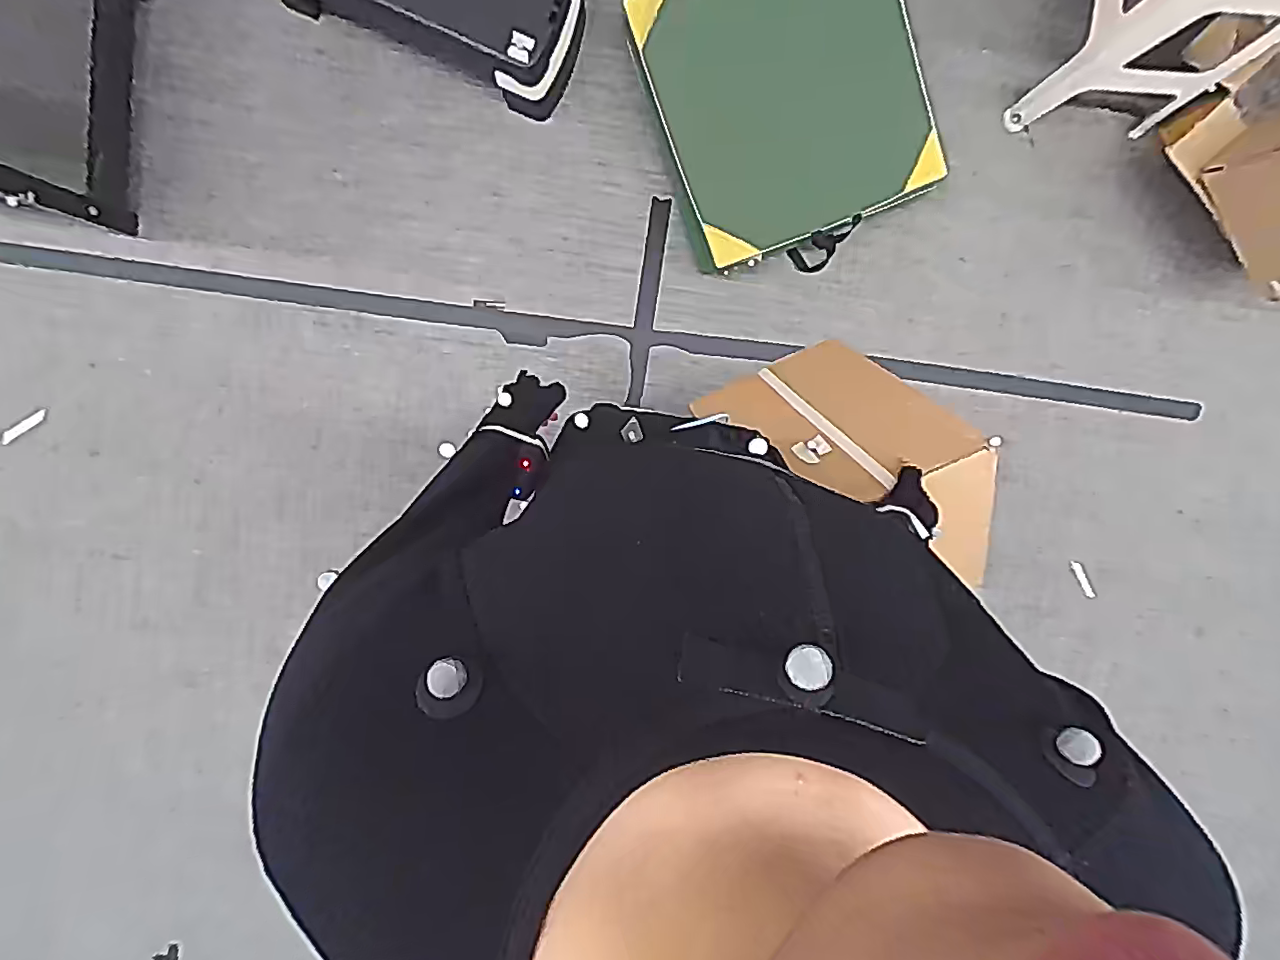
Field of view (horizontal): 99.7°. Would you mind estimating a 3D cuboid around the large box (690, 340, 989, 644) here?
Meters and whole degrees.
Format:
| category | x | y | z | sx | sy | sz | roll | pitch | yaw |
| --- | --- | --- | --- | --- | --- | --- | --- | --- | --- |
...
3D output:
| category | x | y | z | sx | sy | sz | roll | pitch | yaw |
| --- | --- | --- | --- | --- | --- | --- | --- | --- | --- |
| large box | 0.333 | 0.008 | 0.987 | 0.320 | 0.408 | 0.320 | -26 | 130 | 0 |
